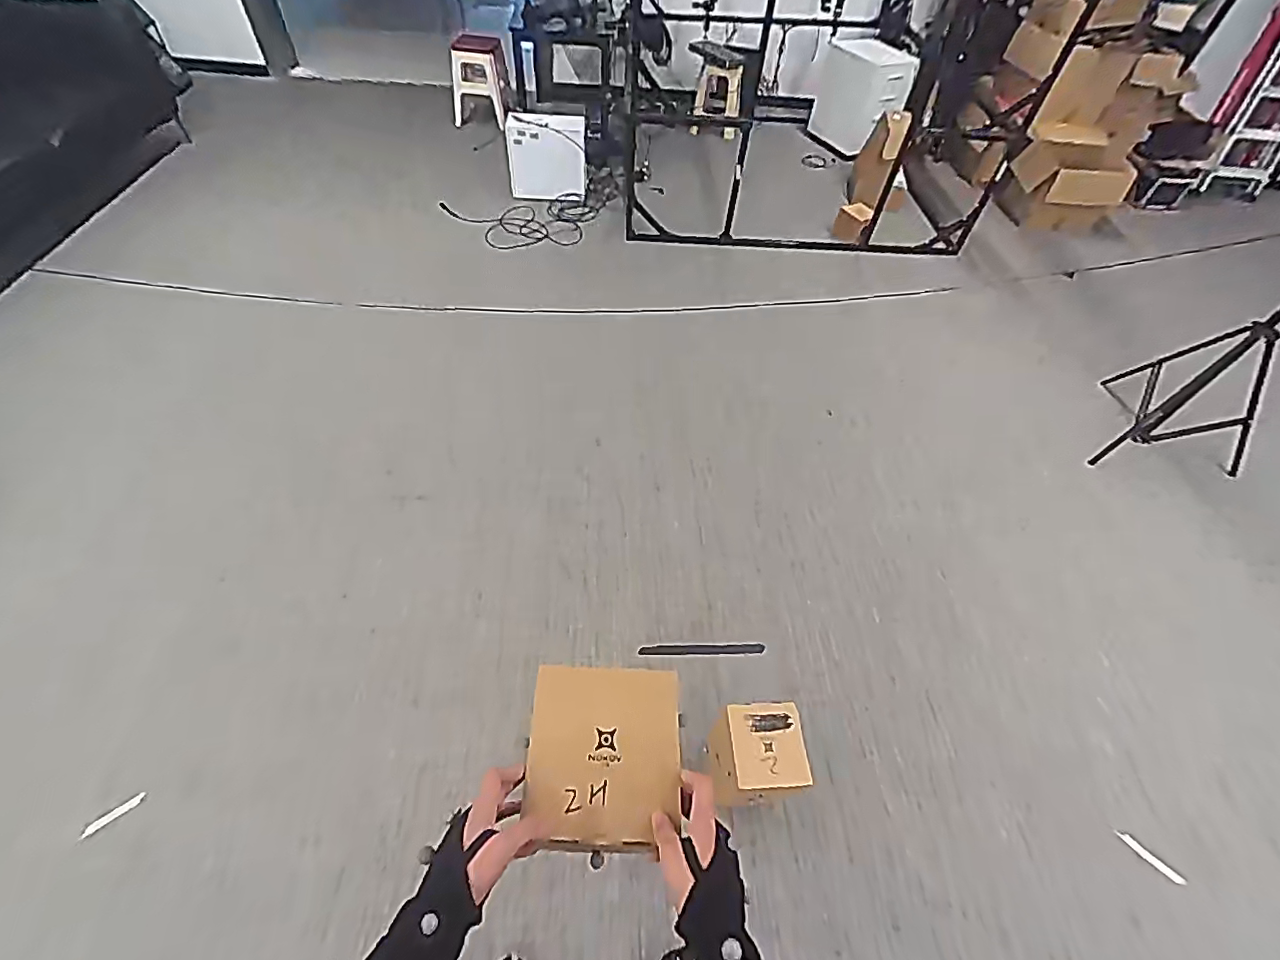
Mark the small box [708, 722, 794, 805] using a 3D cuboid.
[{"bbox_3d":[0.278,0.737,1.403,0.179,0.176,0.168,1,52,-5],"label":"small box"}]

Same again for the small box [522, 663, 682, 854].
[{"bbox_3d":[-0.042,0.340,0.656,0.168,0.176,0.179,4,53,-2],"label":"small box"}]
